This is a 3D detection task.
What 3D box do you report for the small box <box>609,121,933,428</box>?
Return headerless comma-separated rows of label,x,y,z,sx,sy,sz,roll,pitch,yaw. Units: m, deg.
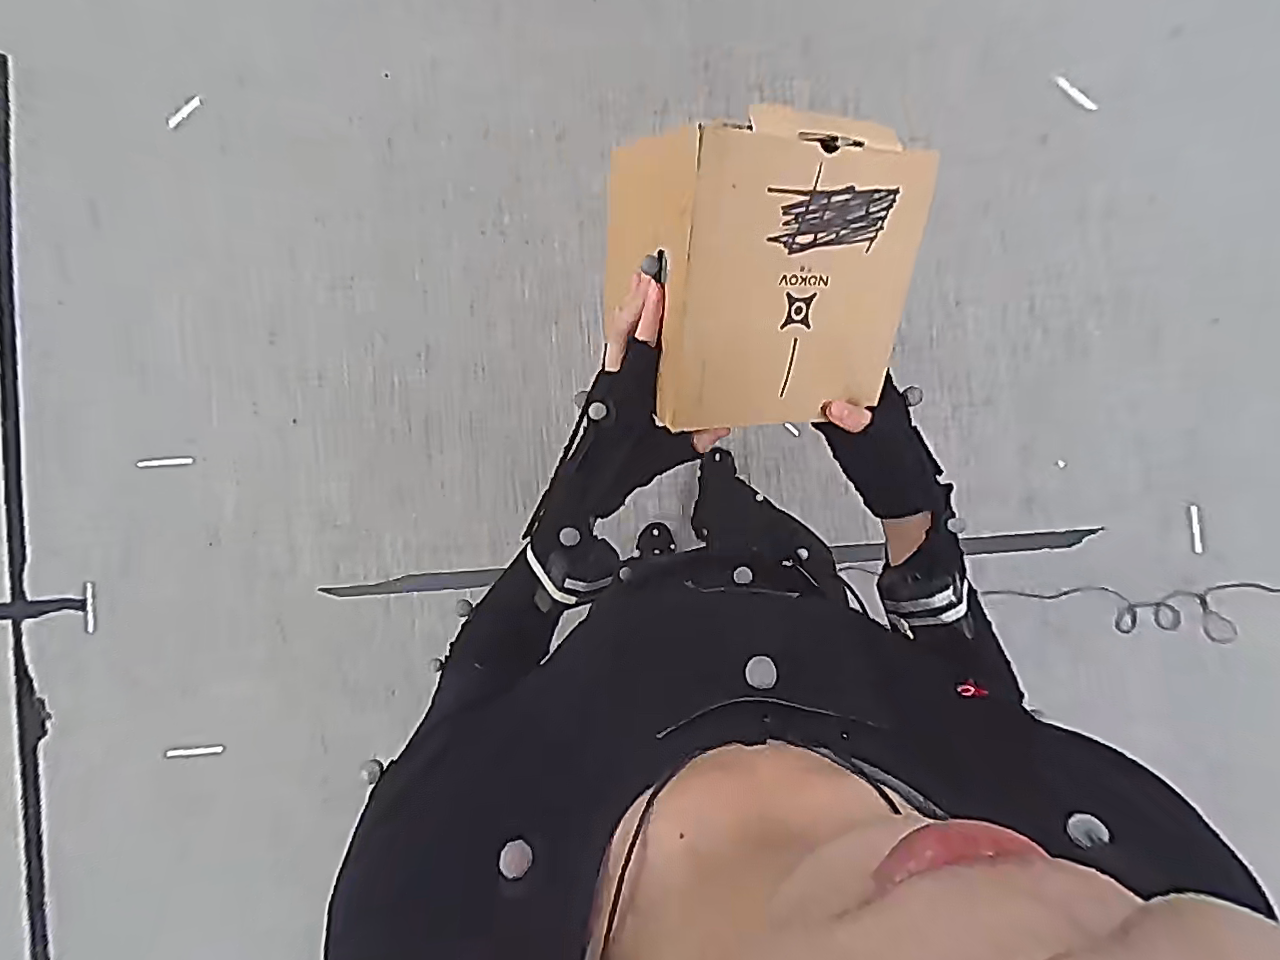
small box,0.077,-0.152,0.416,0.168,0.176,0.179,-5,117,-18
